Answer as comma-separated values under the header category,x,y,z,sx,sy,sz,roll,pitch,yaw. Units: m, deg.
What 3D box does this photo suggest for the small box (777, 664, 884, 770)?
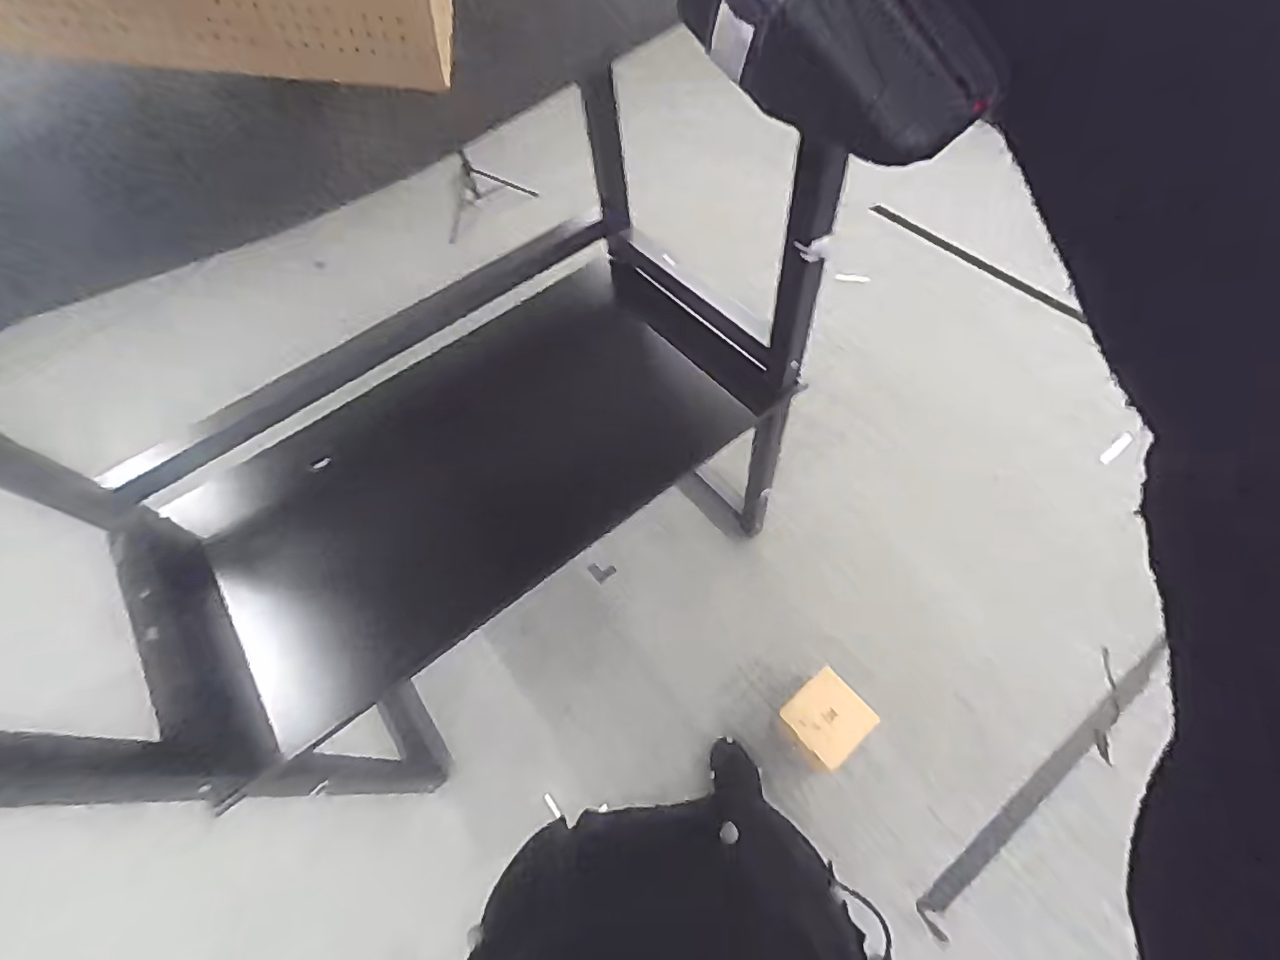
category,x,y,z,sx,sy,sz,roll,pitch,yaw
small box,0.462,0.592,1.345,0.179,0.176,0.168,-38,63,-14
